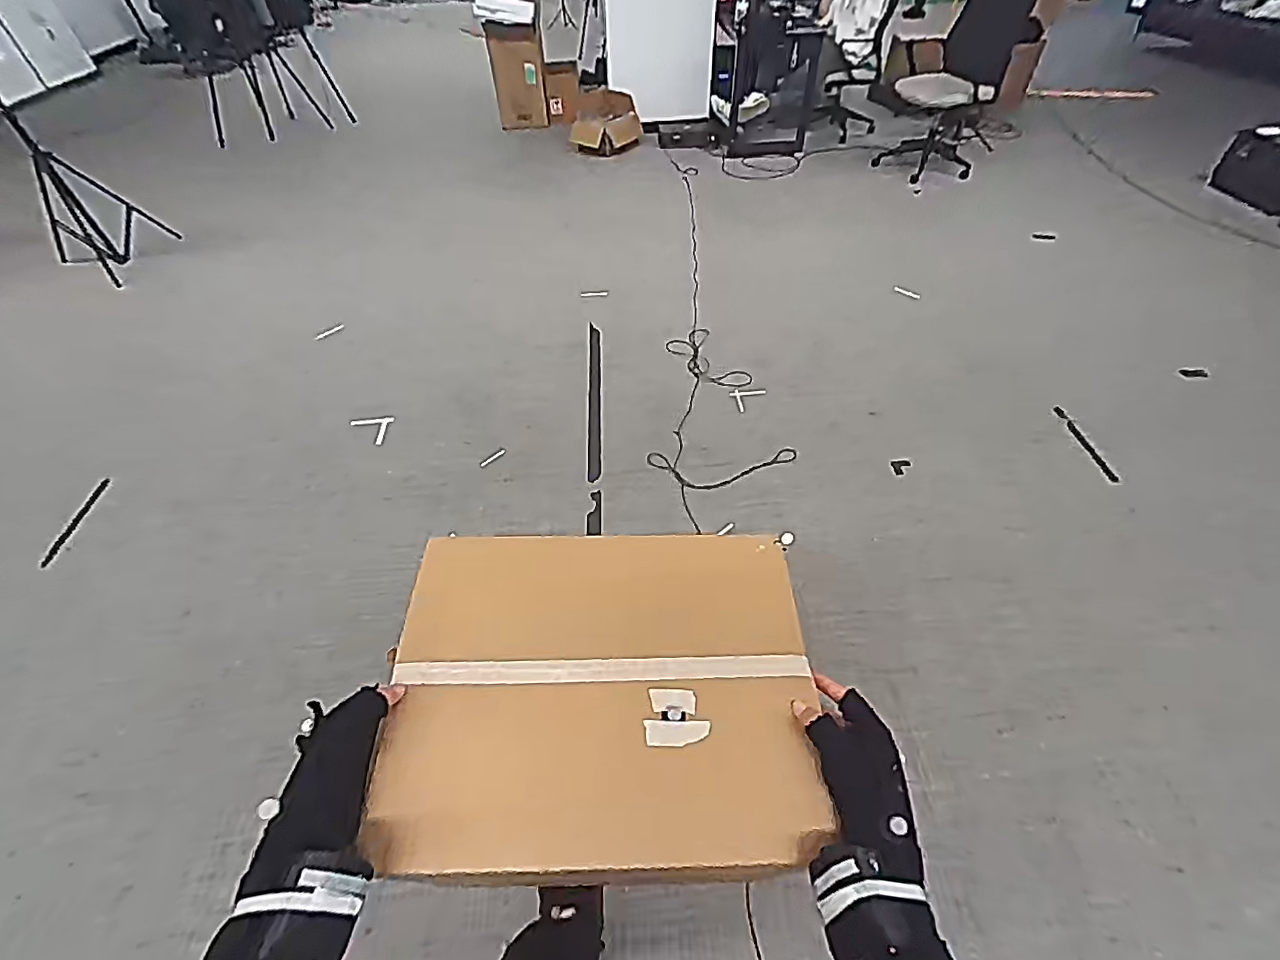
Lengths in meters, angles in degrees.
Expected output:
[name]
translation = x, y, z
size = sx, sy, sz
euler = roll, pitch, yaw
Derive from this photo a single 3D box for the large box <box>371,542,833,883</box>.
[large box]
translation = -0.040, 0.289, 0.665
size = 0.408, 0.320, 0.320
euler = 0, 52, -2
